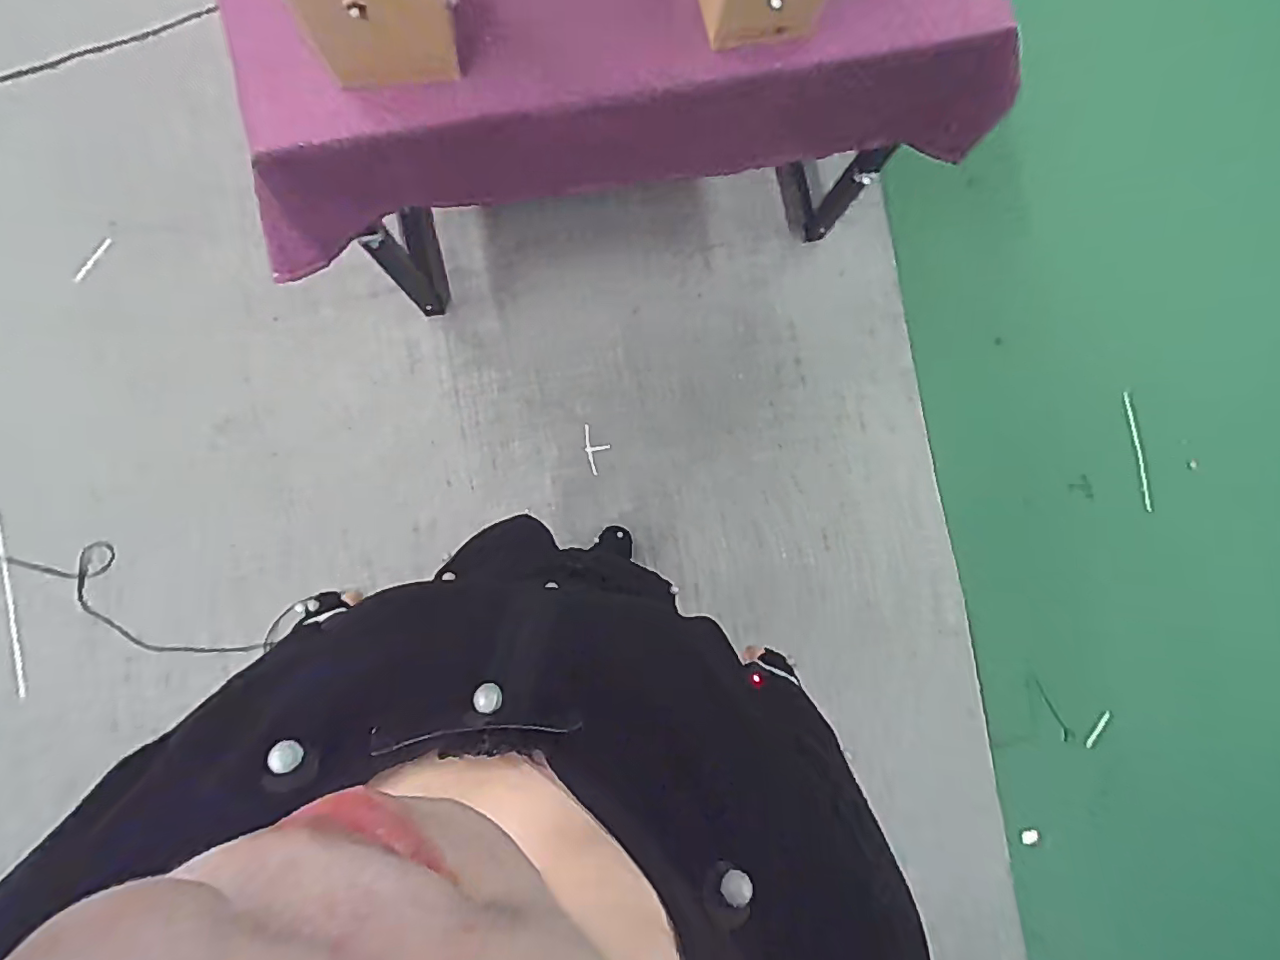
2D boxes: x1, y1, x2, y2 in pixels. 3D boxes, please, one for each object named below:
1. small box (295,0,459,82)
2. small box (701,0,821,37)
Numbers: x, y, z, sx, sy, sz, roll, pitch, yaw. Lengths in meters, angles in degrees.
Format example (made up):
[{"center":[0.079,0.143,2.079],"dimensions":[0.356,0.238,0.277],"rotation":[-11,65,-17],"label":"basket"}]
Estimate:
[{"center":[-0.356,-0.666,0.713],"dimensions":[0.179,0.176,0.168],"rotation":[-9,88,-6],"label":"small box"},{"center":[0.179,-0.771,0.763],"dimensions":[0.168,0.176,0.179],"rotation":[-11,88,-6],"label":"small box"}]
